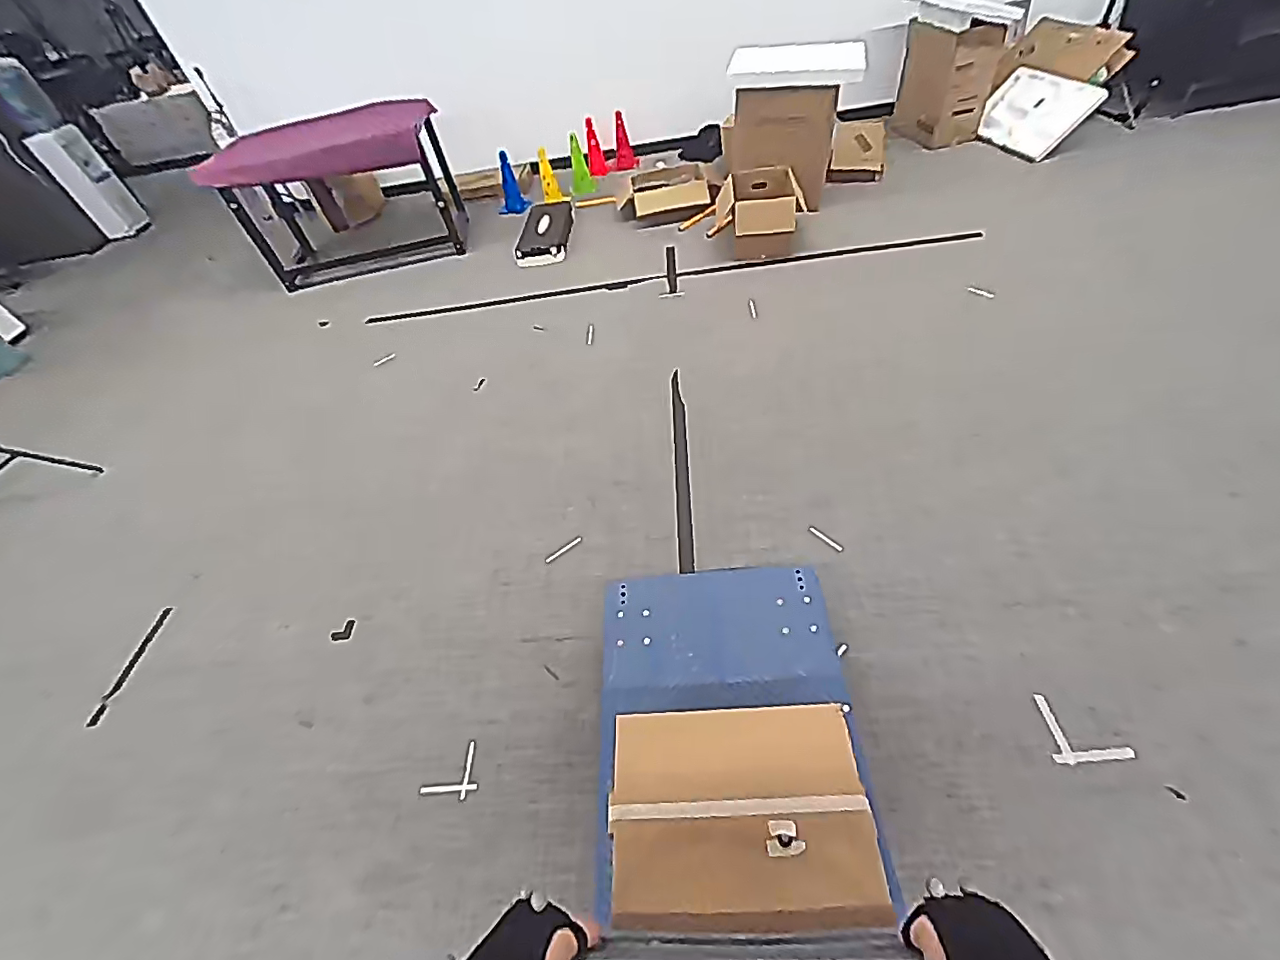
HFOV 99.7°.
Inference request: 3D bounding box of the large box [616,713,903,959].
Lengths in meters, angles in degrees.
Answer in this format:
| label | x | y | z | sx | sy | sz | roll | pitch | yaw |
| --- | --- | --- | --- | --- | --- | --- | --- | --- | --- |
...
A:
| label | x | y | z | sx | sy | sz | roll | pitch | yaw |
| --- | --- | --- | --- | --- | --- | --- | --- | --- | --- |
| large box | 0.176 | 0.636 | 0.951 | 0.408 | 0.320 | 0.320 | -5 | 47 | 5 |
